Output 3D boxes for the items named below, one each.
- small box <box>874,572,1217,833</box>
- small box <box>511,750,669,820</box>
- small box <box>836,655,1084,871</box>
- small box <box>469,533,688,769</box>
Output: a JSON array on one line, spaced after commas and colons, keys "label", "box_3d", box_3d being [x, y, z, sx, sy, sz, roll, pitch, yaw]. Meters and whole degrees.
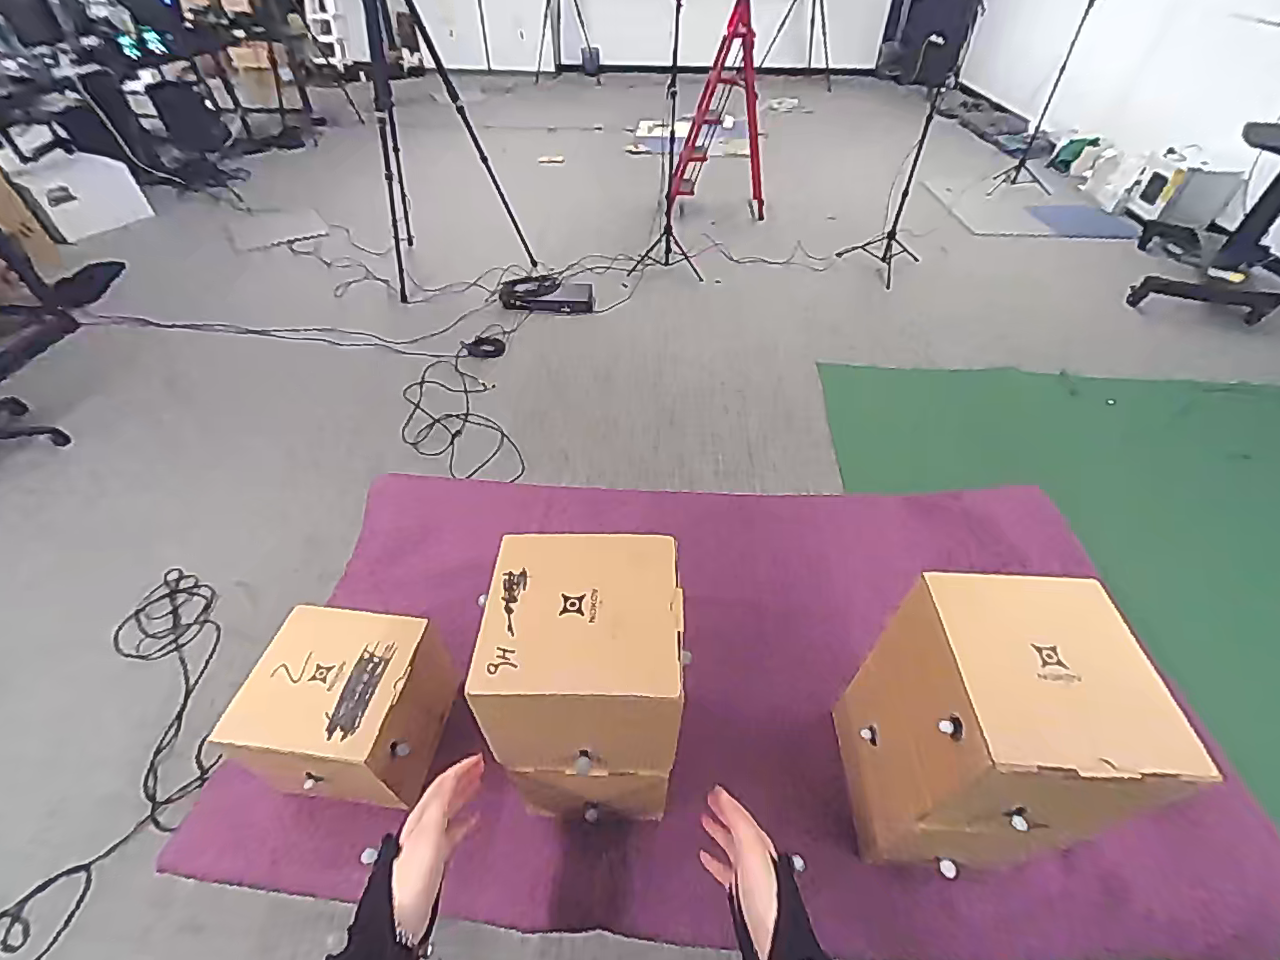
[{"label": "small box", "box_3d": [0.345, 0.210, 0.513, 0.168, 0.176, 0.179, 2, 46, 1]}, {"label": "small box", "box_3d": [-0.051, 0.286, 0.656, 0.168, 0.176, 0.179, 1, 45, 1]}, {"label": "small box", "box_3d": [0.341, 0.326, 0.626, 0.168, 0.176, 0.179, 3, 46, 2]}, {"label": "small box", "box_3d": [-0.050, 0.172, 0.539, 0.179, 0.176, 0.168, 2, 44, 0]}]
